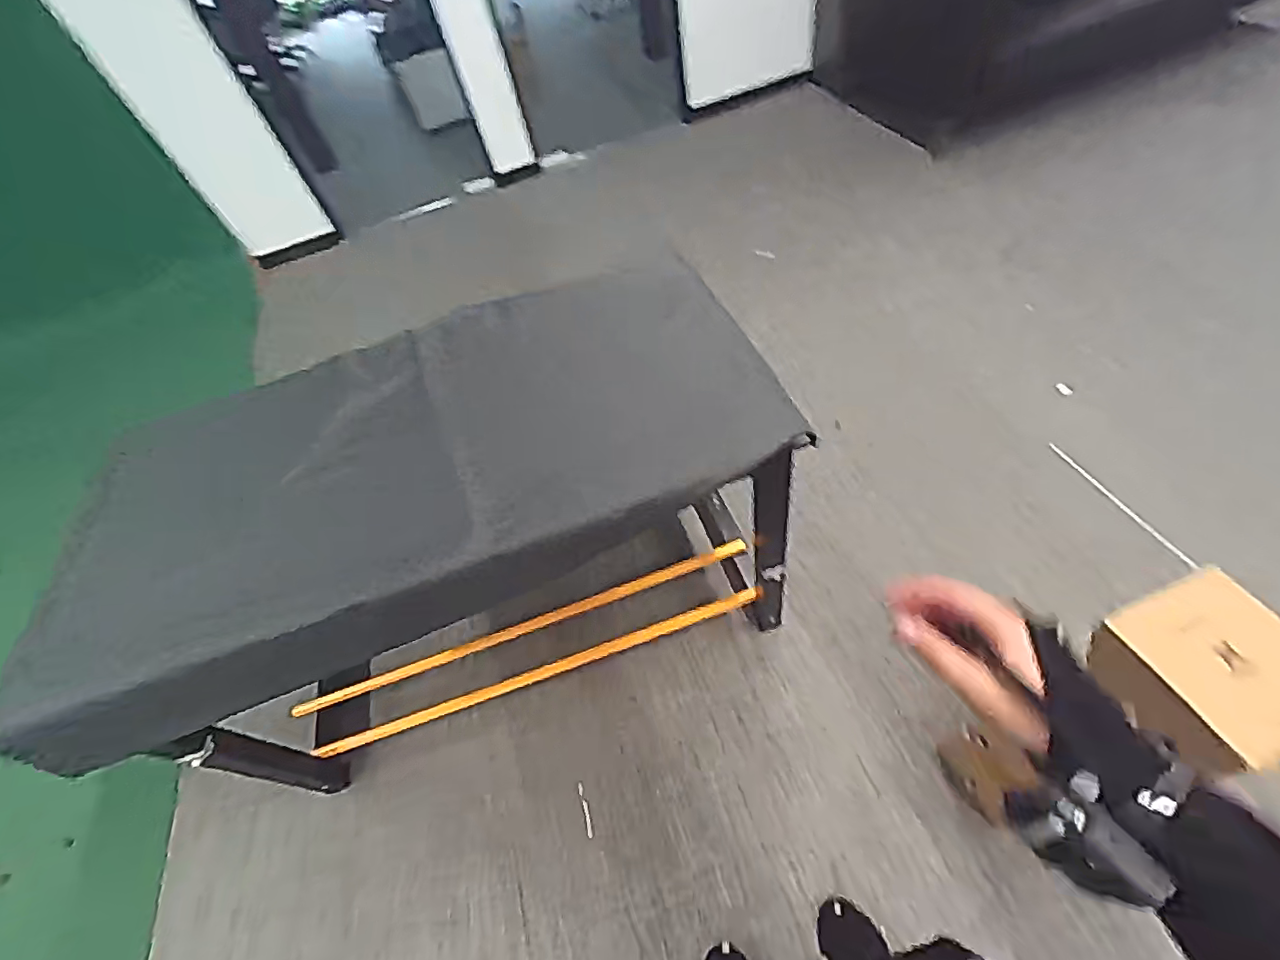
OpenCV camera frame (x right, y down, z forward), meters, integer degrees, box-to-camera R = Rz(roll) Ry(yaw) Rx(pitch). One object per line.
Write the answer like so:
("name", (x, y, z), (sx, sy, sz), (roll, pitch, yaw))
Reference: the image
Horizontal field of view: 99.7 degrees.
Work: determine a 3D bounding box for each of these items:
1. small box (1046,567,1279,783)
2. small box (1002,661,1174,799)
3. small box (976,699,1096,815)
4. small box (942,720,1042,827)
("small box", (0.658, 0.243, 0.656), (0.168, 0.176, 0.179), (-23, 52, -6))
("small box", (0.682, 0.339, 0.786), (0.168, 0.176, 0.179), (-24, 53, -6))
("small box", (0.707, 0.438, 0.914), (0.179, 0.176, 0.168), (-24, 53, -7))
("small box", (0.724, 0.539, 1.042), (0.179, 0.176, 0.168), (-25, 52, -6))
